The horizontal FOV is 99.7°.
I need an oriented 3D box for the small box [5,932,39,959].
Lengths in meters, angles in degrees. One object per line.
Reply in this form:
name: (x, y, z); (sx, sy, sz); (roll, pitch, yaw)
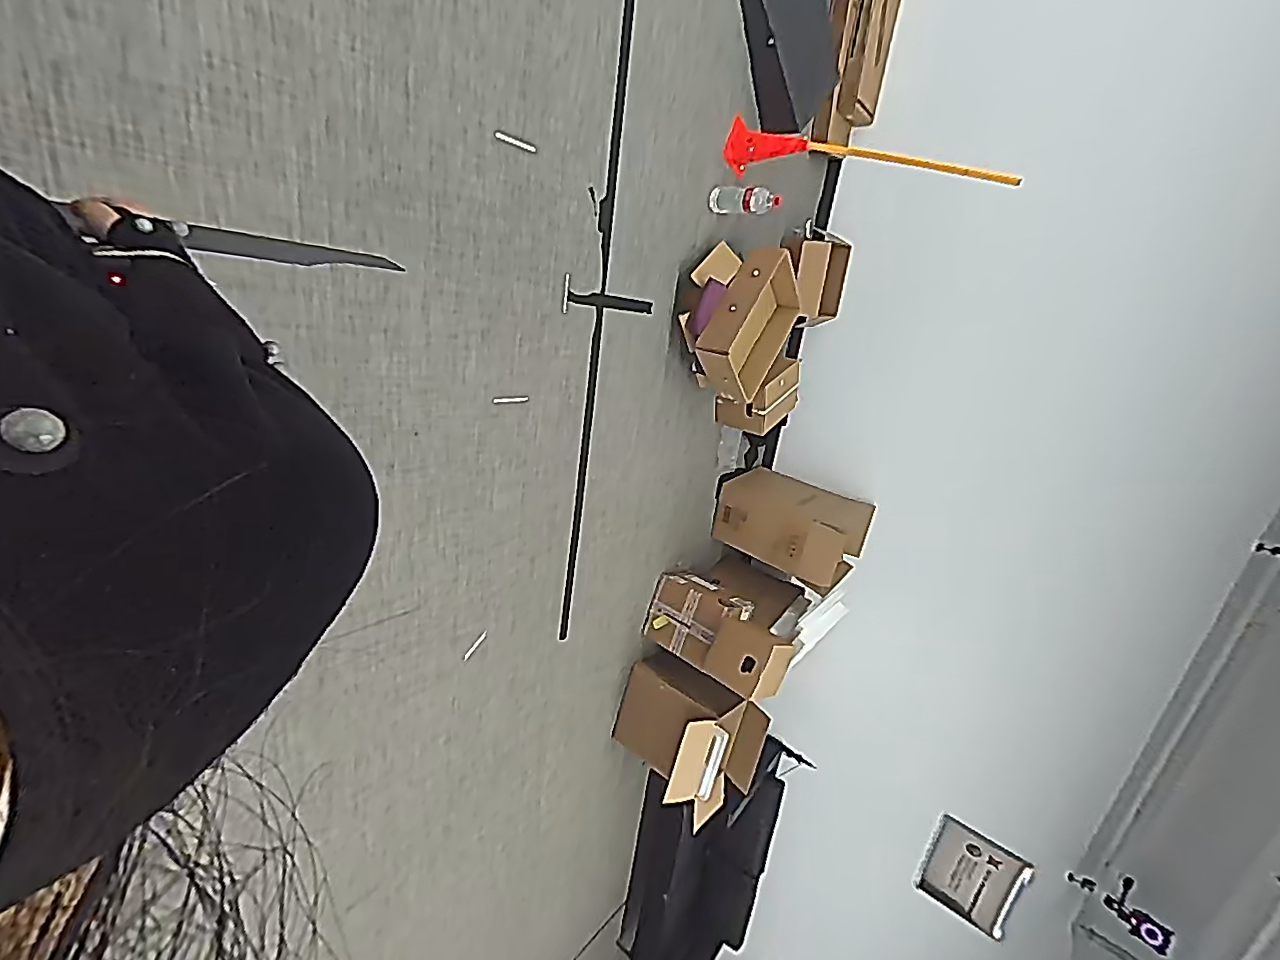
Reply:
small box: (-1.445, 1.155, 1.185); (0.168, 0.176, 0.179); (-24, 126, -47)

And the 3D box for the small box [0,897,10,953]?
small box: (-1.417, 0.895, 1.082); (0.168, 0.176, 0.179); (-18, 123, -49)
